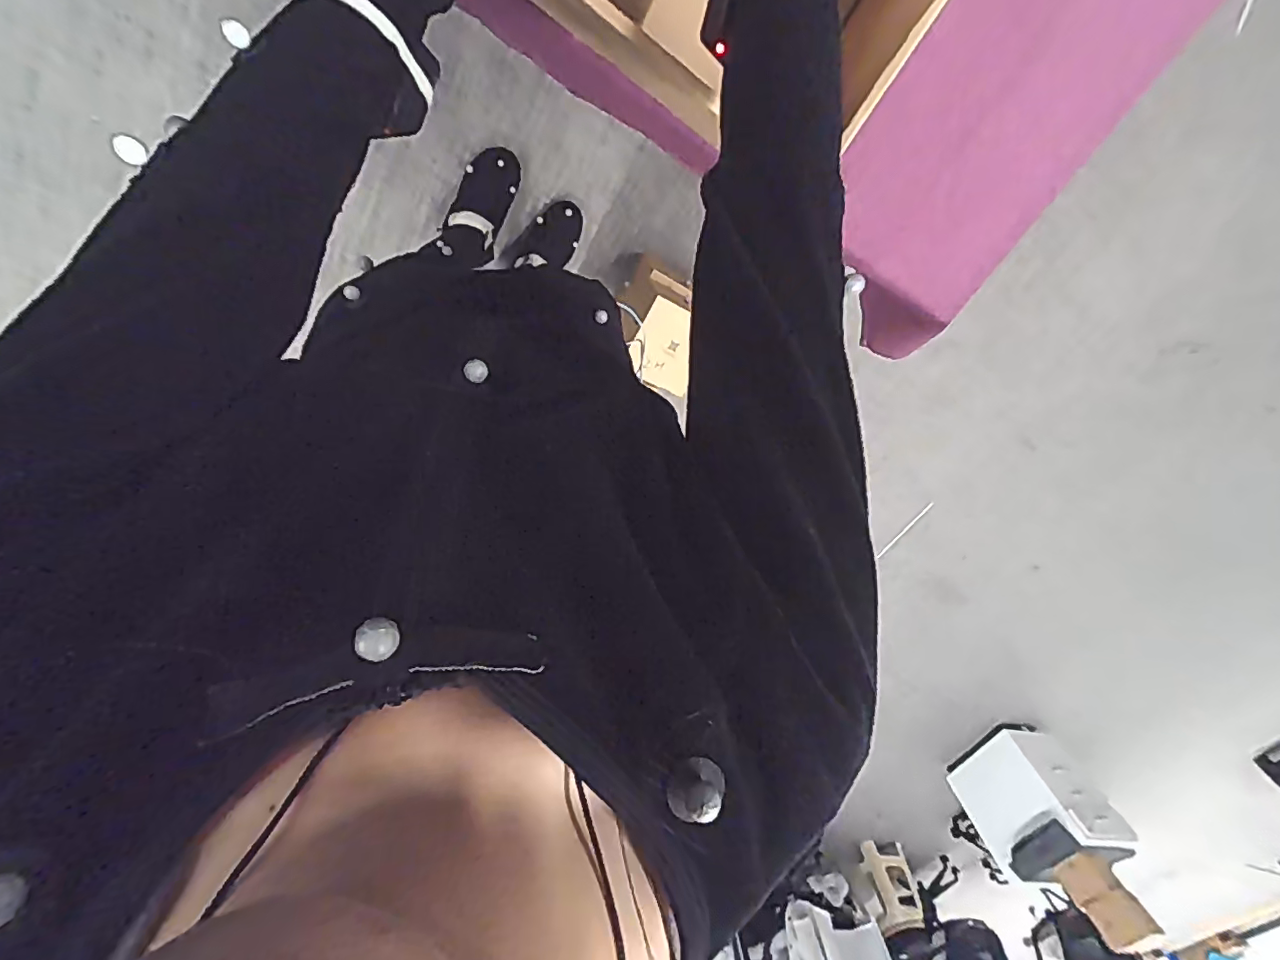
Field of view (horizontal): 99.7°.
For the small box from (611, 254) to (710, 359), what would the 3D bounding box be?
[{"bbox_3d":[0.043,-0.435,1.341,0.179,0.176,0.168,23,117,-22],"label":"small box"}]
